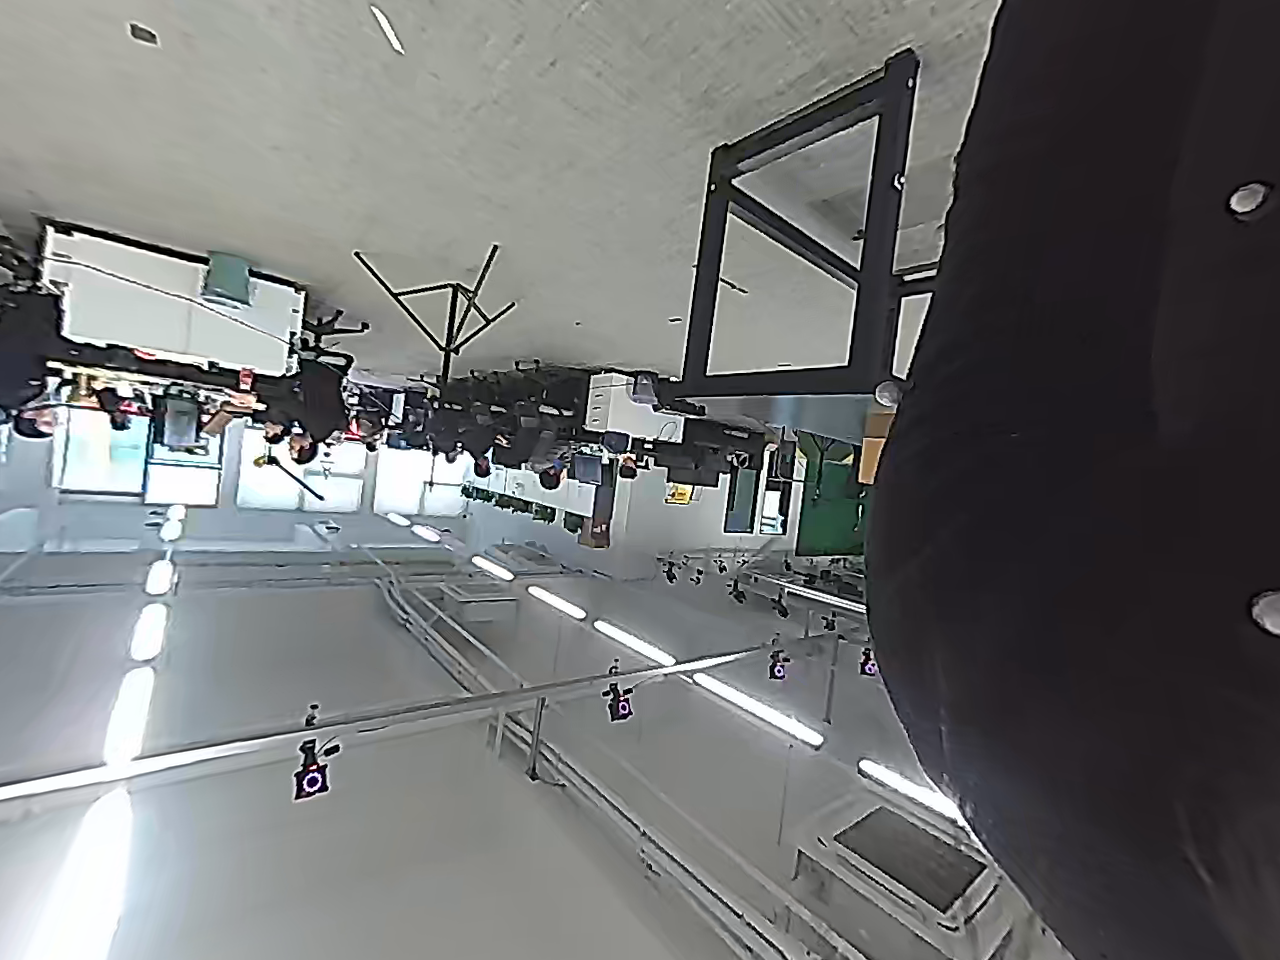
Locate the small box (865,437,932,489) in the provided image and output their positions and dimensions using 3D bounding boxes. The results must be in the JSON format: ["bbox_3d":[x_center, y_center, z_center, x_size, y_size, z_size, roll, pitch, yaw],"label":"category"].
[{"bbox_3d":[0.945,-0.065,1.968,0.168,0.176,0.179,7,-179,-43],"label":"small box"}]
